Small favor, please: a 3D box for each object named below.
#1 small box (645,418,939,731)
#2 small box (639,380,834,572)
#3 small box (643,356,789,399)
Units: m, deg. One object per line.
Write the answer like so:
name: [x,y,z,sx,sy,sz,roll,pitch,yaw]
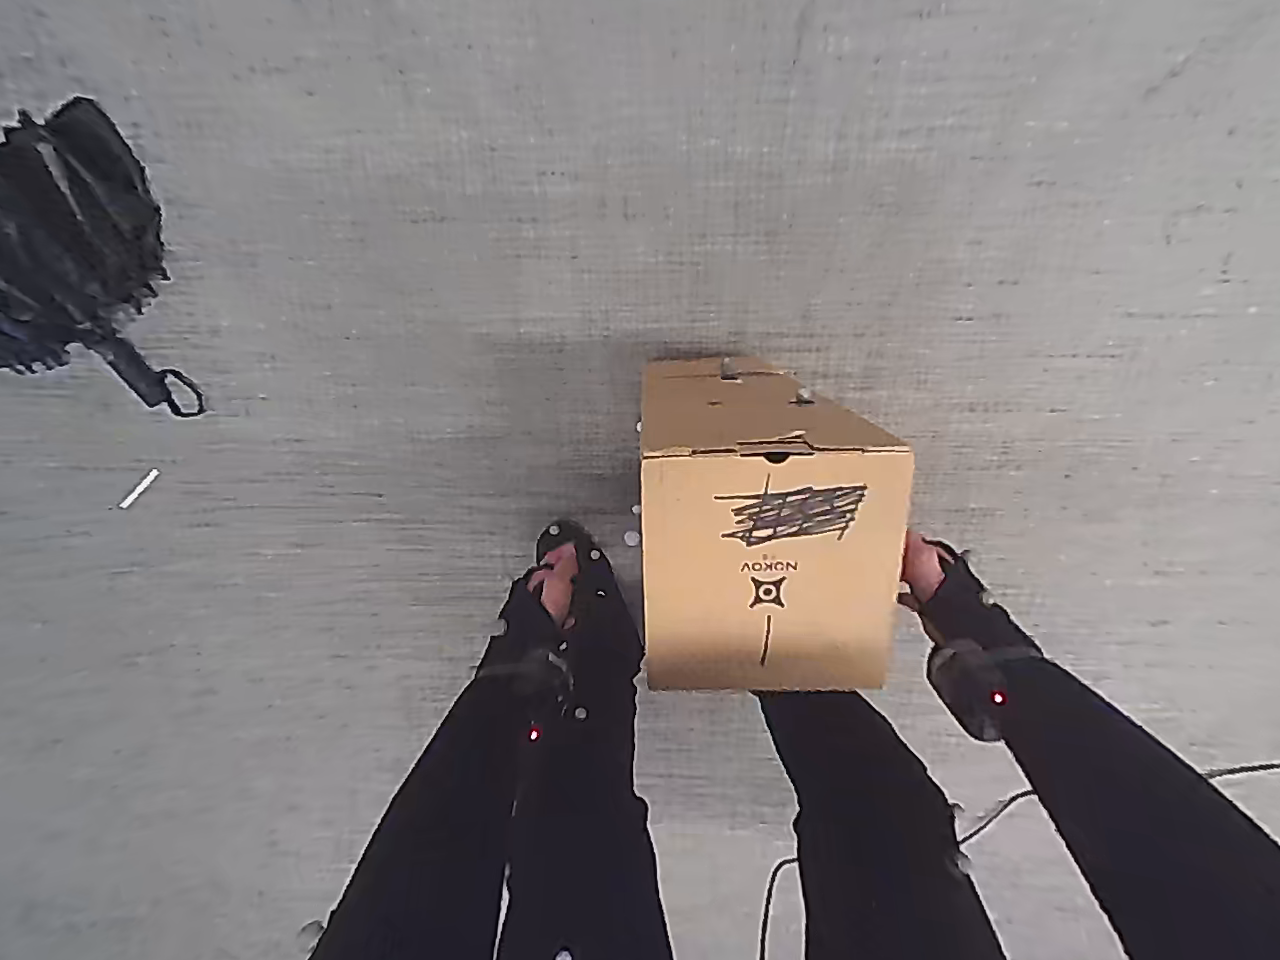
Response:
small box: [0.087,0.054,0.400,0.168,0.176,0.179,-1,111,2]
small box: [0.087,-0.001,0.555,0.168,0.176,0.179,-2,109,2]
small box: [0.092,-0.060,0.707,0.168,0.176,0.179,-2,110,3]
